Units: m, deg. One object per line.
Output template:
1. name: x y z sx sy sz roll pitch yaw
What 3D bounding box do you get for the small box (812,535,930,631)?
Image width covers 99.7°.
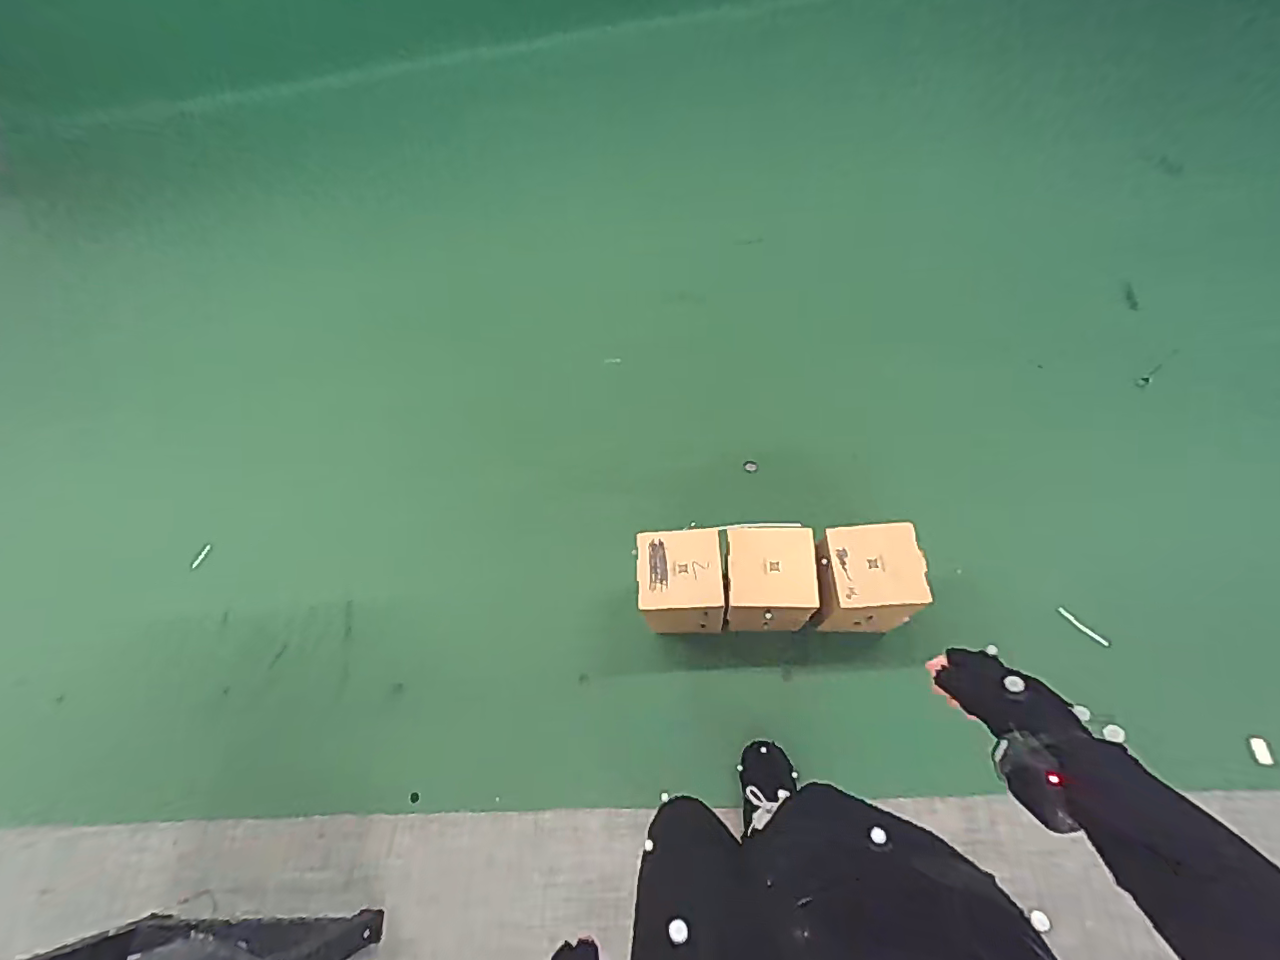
1. small box: 0.478 0.222 1.144 0.179 0.176 0.168 -4 65 6
